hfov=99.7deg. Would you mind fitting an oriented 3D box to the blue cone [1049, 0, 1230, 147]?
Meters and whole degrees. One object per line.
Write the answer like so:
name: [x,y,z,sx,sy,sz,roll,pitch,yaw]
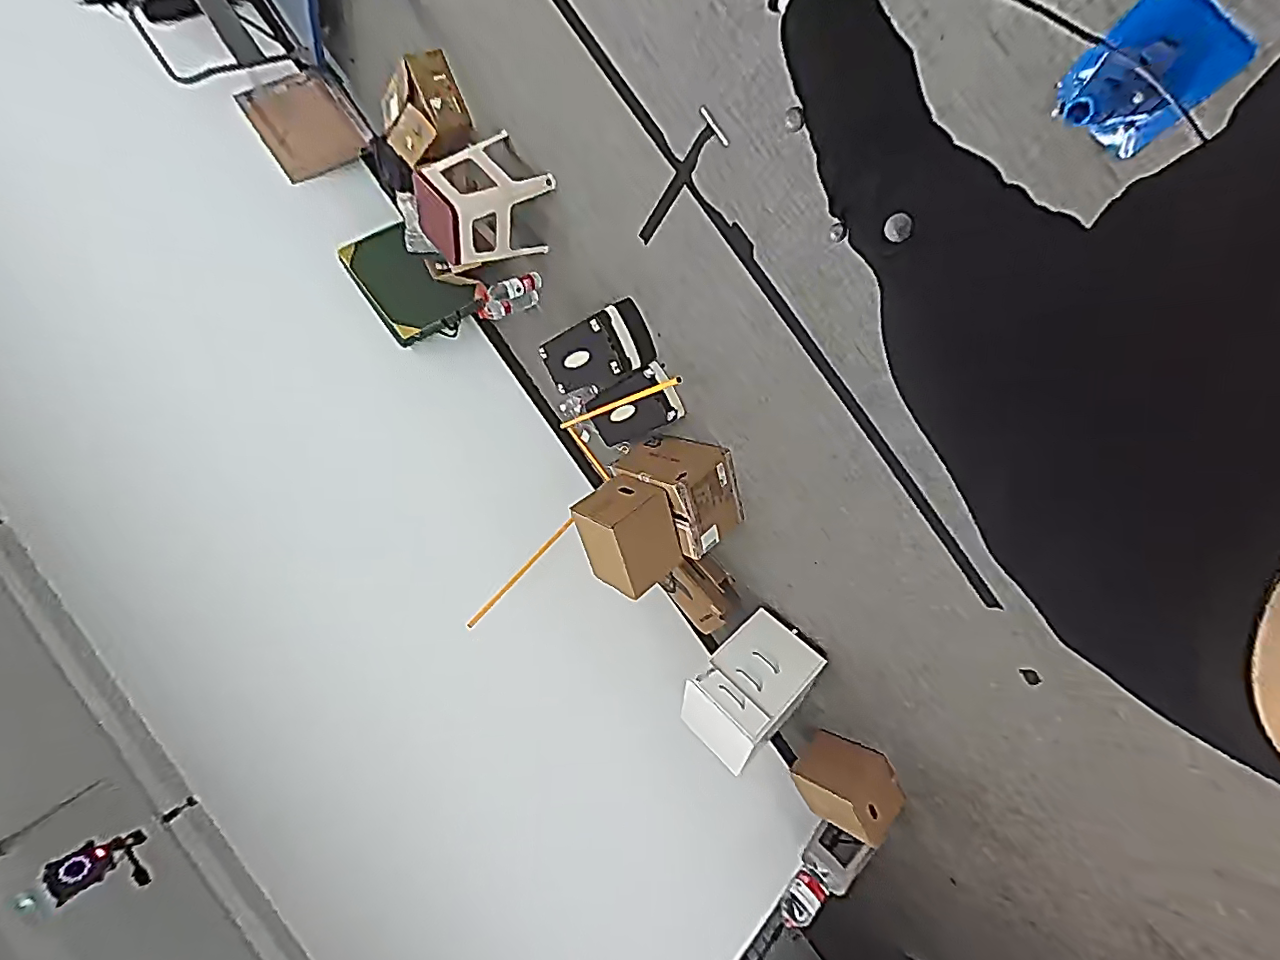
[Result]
blue cone: [0.754,-0.638,0.871,0.192,0.380,0.193,53,152,4]
